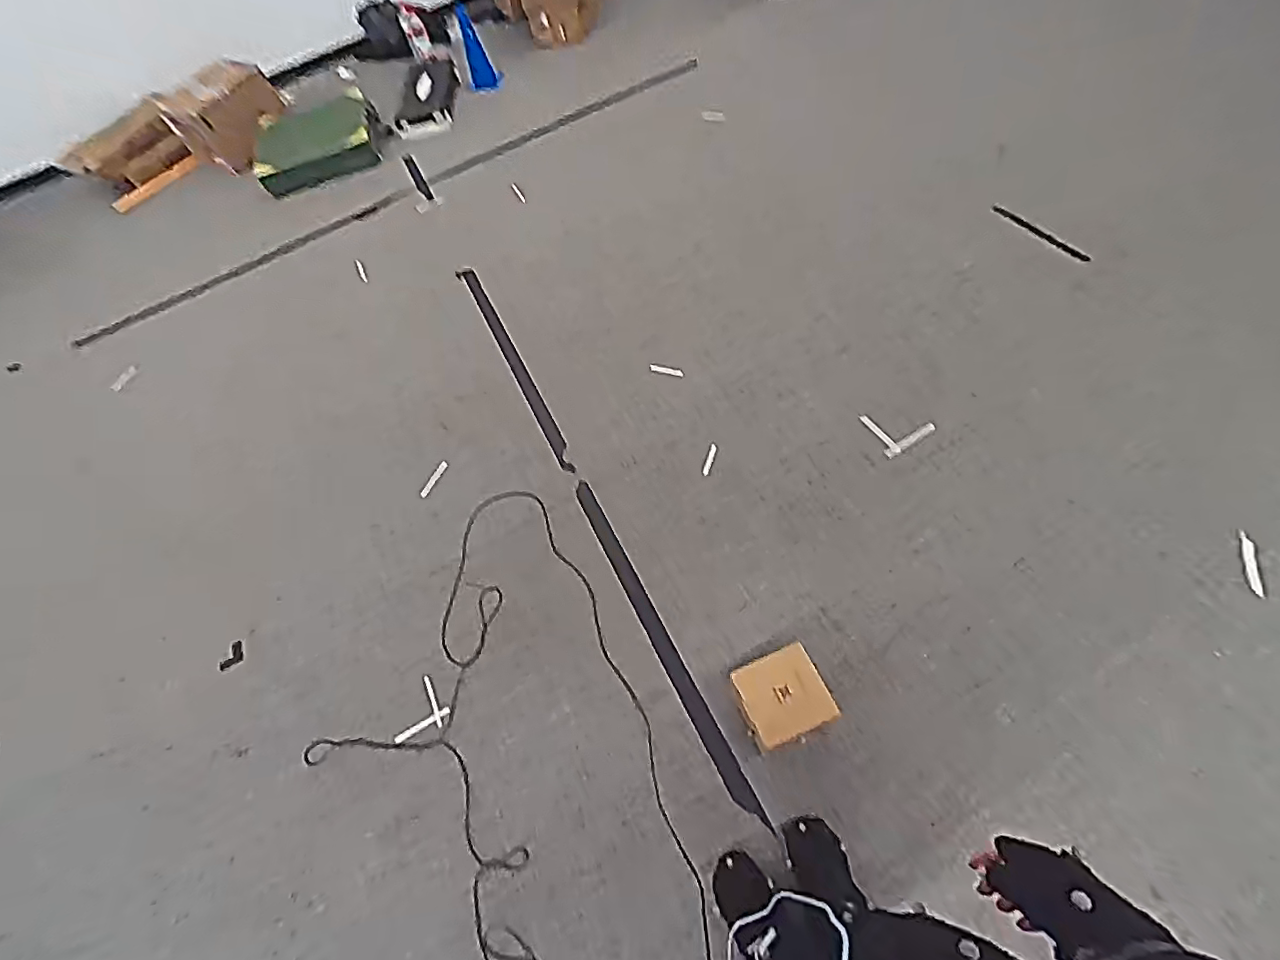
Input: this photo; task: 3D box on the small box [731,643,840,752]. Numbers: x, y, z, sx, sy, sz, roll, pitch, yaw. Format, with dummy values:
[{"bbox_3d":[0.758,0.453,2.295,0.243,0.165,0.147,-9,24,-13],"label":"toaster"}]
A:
[{"bbox_3d":[0.321,0.496,1.220,0.179,0.176,0.168,-24,59,-4],"label":"small box"}]
